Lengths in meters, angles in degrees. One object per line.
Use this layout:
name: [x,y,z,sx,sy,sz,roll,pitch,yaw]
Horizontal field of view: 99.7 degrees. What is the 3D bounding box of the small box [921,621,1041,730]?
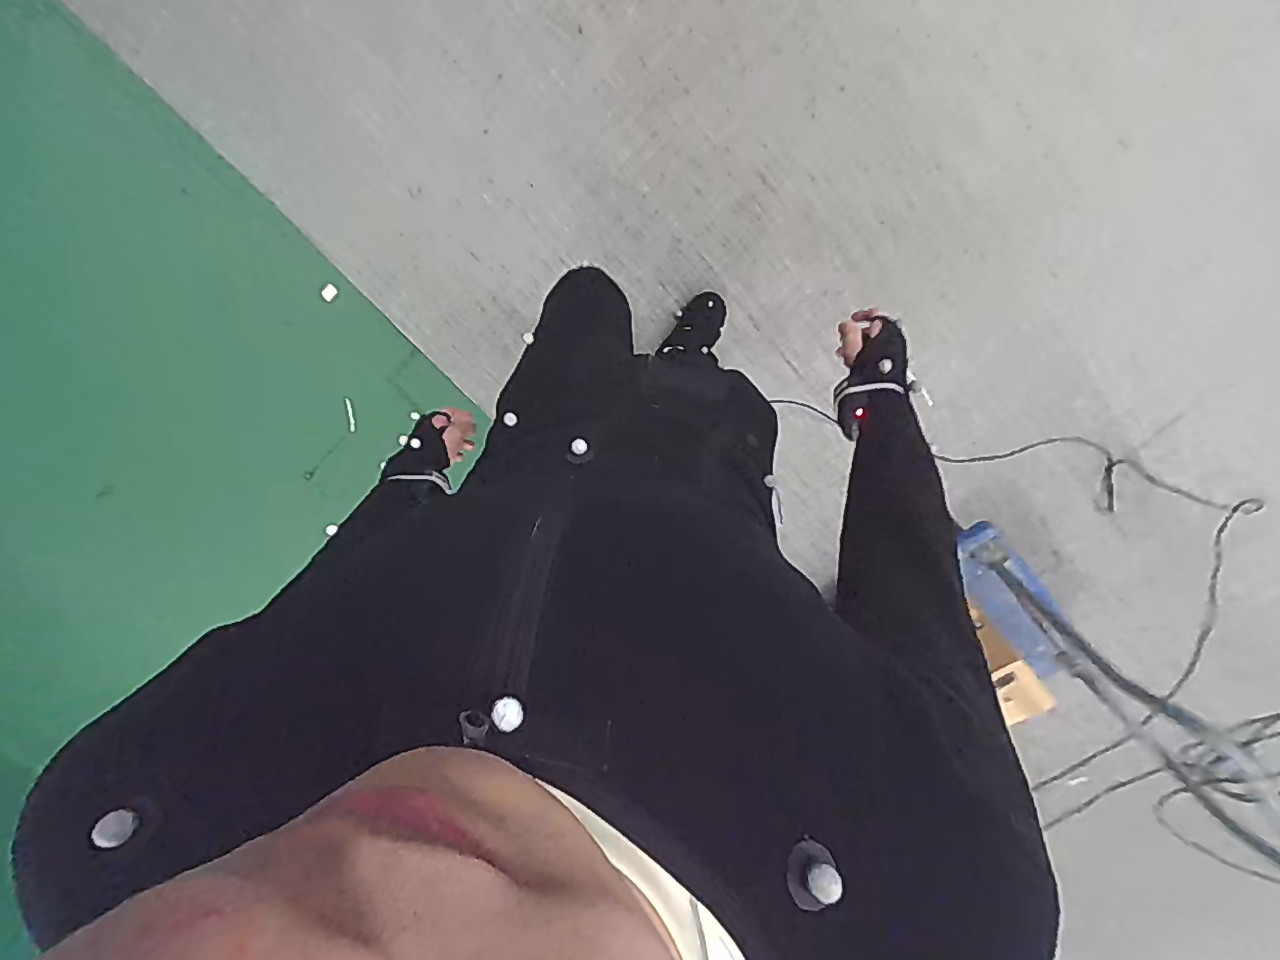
small box: [0.855,0.484,1.373,0.168,0.176,0.179,-38,107,20]
